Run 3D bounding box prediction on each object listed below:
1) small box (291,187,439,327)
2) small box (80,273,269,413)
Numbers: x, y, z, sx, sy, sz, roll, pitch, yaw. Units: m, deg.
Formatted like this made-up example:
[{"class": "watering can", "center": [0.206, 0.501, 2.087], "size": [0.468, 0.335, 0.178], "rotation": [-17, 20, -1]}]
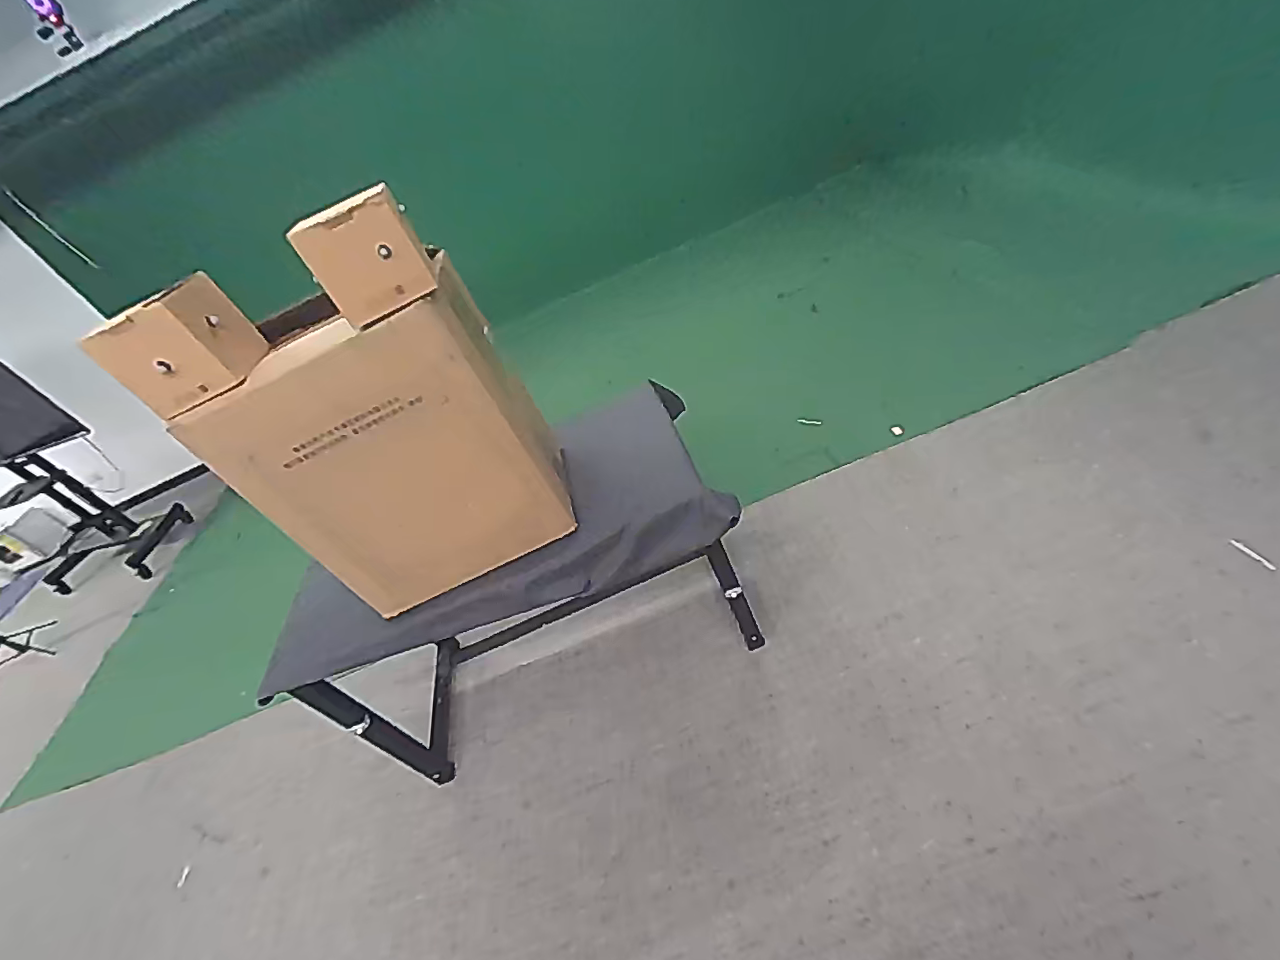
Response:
[{"class": "small box", "center": [-0.478, -0.396, 0.966], "size": [0.168, 0.176, 0.179], "rotation": [-27, 37, -5]}, {"class": "small box", "center": [-0.831, -0.245, 0.992], "size": [0.168, 0.176, 0.179], "rotation": [-25, 38, 3]}]
